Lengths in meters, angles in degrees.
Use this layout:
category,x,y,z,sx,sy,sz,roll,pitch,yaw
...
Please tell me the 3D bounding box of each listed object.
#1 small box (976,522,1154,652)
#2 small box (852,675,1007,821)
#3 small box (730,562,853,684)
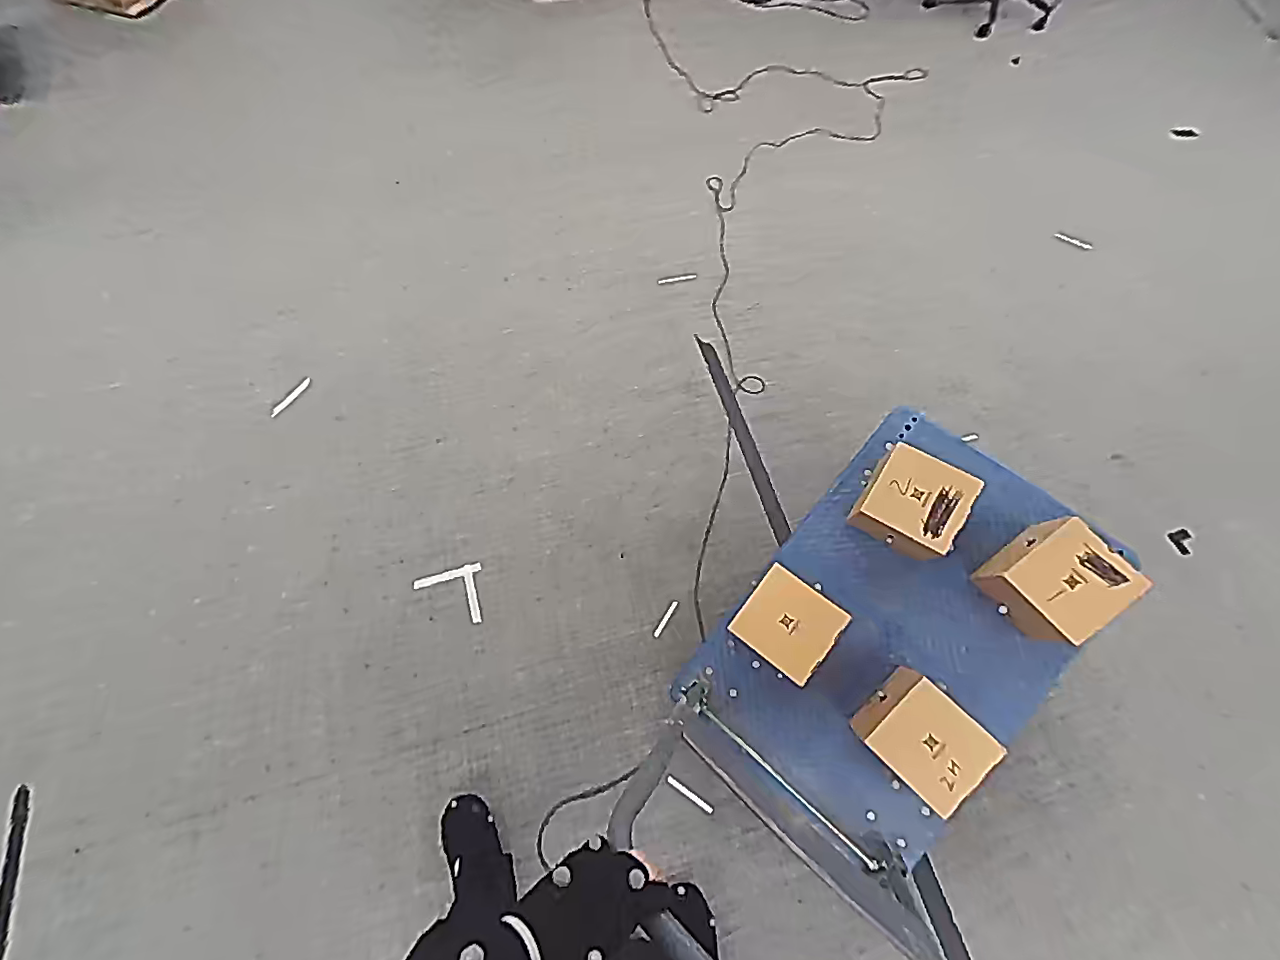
category,x,y,z,sx,sy,sz,roll,pitch,yaw
small box,0.800,0.204,1.044,0.179,0.176,0.168,-39,73,1
small box,0.534,0.492,1.030,0.168,0.176,0.179,-45,73,-1
small box,0.303,0.294,1.121,0.179,0.176,0.168,37,86,15
